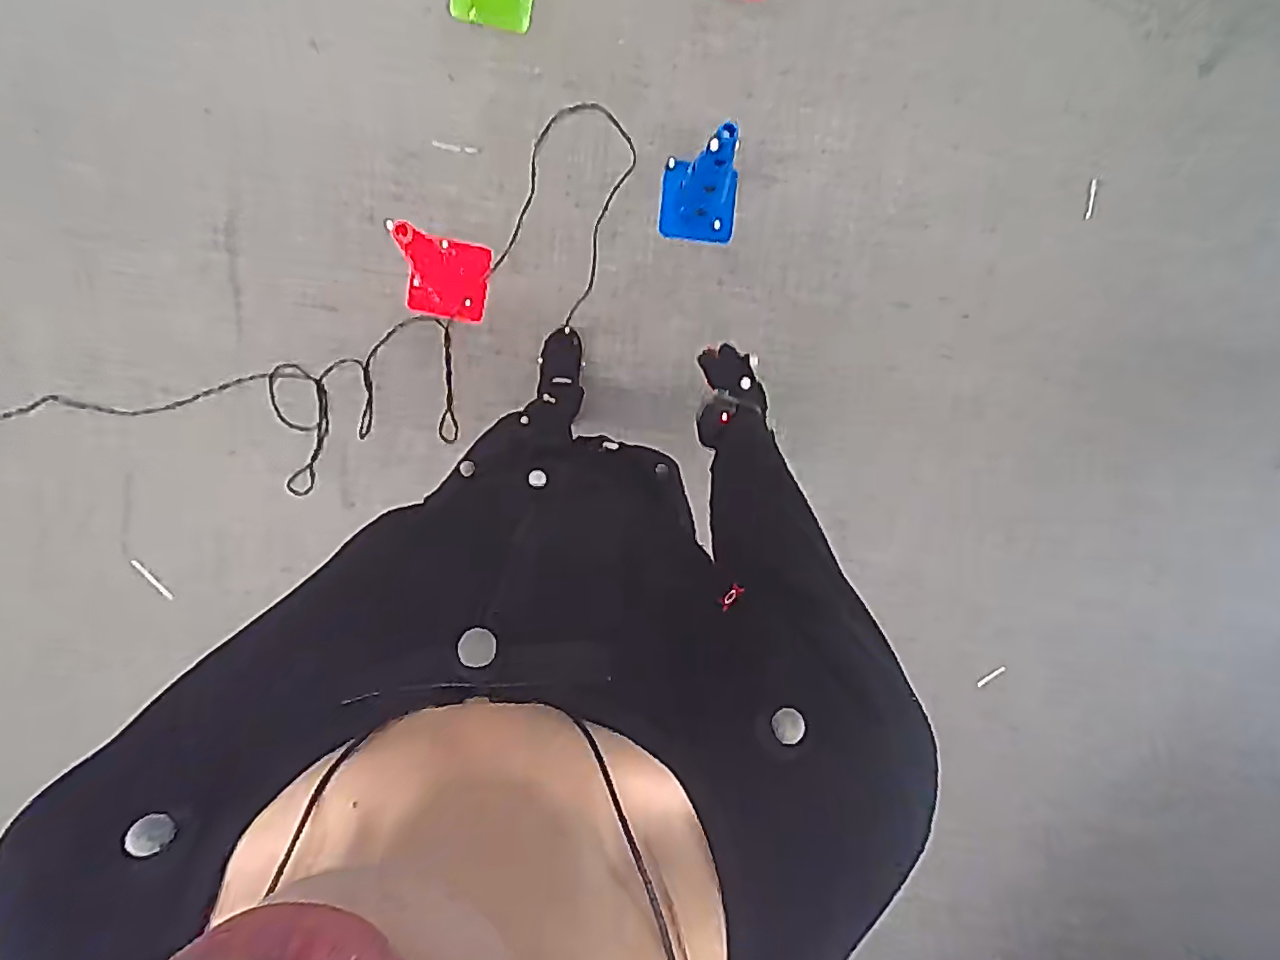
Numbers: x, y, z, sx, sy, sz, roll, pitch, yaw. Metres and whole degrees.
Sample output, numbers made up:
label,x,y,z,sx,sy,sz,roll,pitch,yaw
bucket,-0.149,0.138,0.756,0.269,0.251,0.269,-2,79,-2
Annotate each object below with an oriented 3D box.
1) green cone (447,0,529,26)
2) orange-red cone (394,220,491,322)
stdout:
label,x,y,z,sx,sy,sz,roll,pitch,yaw
green cone,-0.360,-1.230,1.172,0.200,0.368,0.202,8,96,-5
orange-red cone,-0.484,-0.512,1.239,0.198,0.360,0.199,11,93,-6
